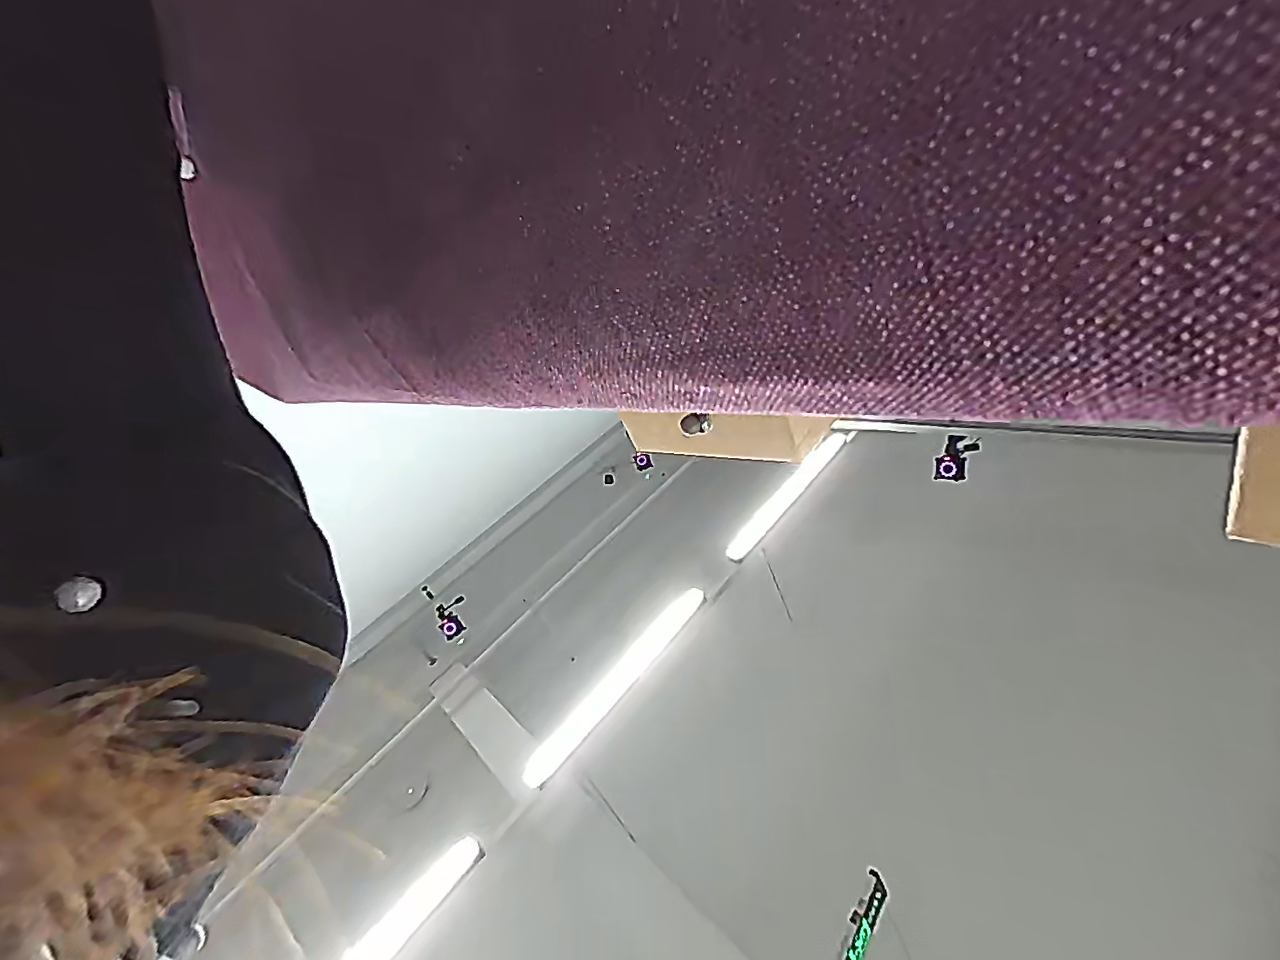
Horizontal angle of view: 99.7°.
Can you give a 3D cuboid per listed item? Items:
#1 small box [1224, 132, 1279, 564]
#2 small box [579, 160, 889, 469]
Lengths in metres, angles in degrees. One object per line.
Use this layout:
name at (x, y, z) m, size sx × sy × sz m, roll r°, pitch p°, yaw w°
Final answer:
small box at (0.310, -0.074, 0.157) m, size 0.179 × 0.176 × 0.168 m, roll -42°, pitch -148°, yaw -25°
small box at (0.073, -0.130, 0.442) m, size 0.179 × 0.176 × 0.168 m, roll 8°, pitch -136°, yaw 48°
